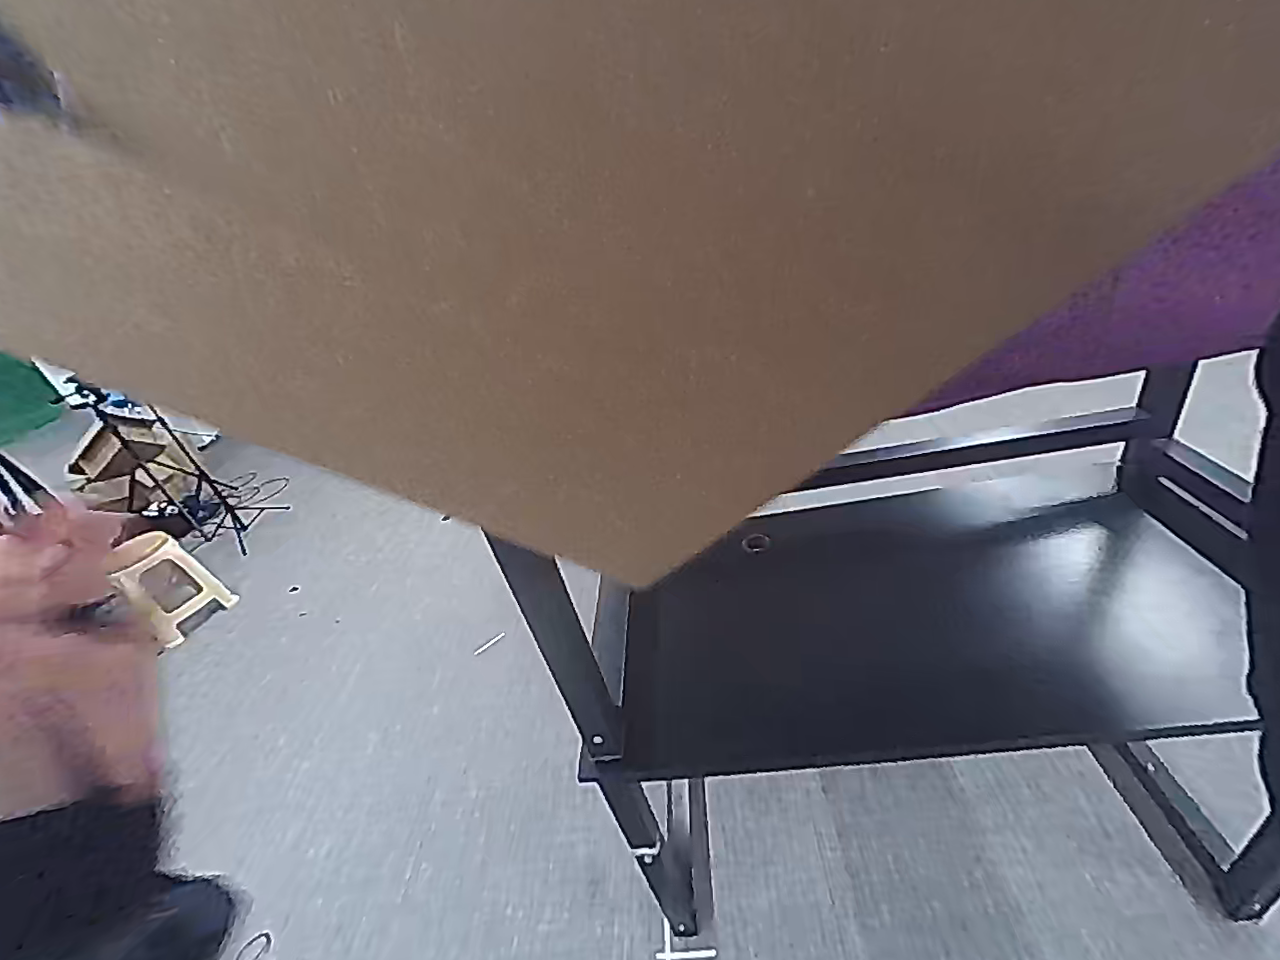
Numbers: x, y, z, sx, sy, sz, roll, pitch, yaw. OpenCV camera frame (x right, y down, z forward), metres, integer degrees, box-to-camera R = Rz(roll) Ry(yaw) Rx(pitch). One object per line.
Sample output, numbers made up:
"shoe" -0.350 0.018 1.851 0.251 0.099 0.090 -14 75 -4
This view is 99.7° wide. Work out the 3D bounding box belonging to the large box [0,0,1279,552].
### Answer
"large box" -0.090 -0.216 0.175 0.408 0.320 0.320 22 57 -12
